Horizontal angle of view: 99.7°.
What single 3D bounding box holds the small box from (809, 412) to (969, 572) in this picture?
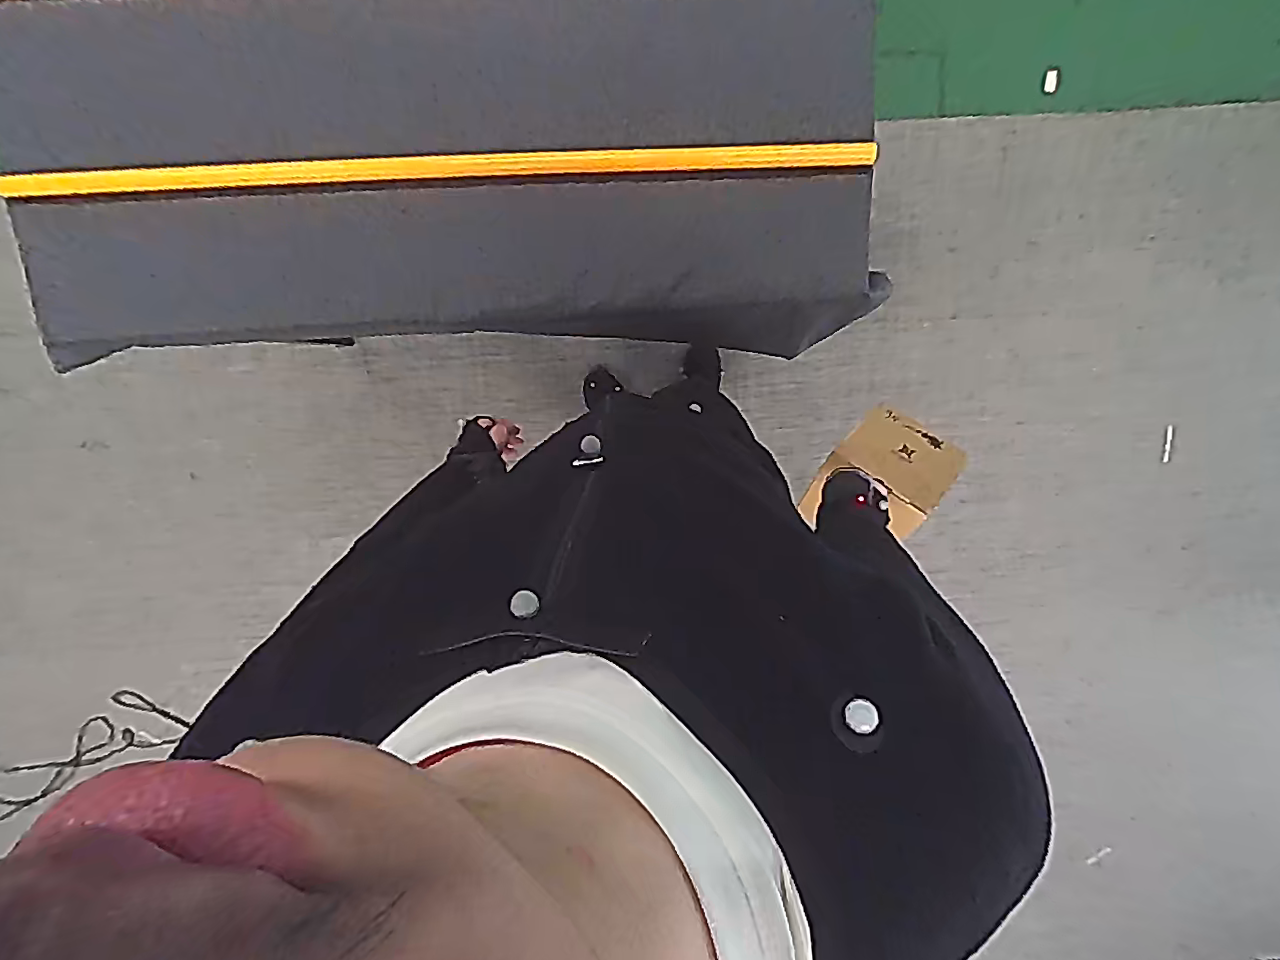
[{"bbox_3d":[0.410,0.023,0.918,0.168,0.179,0.176,37,145,22],"label":"small box"}]
